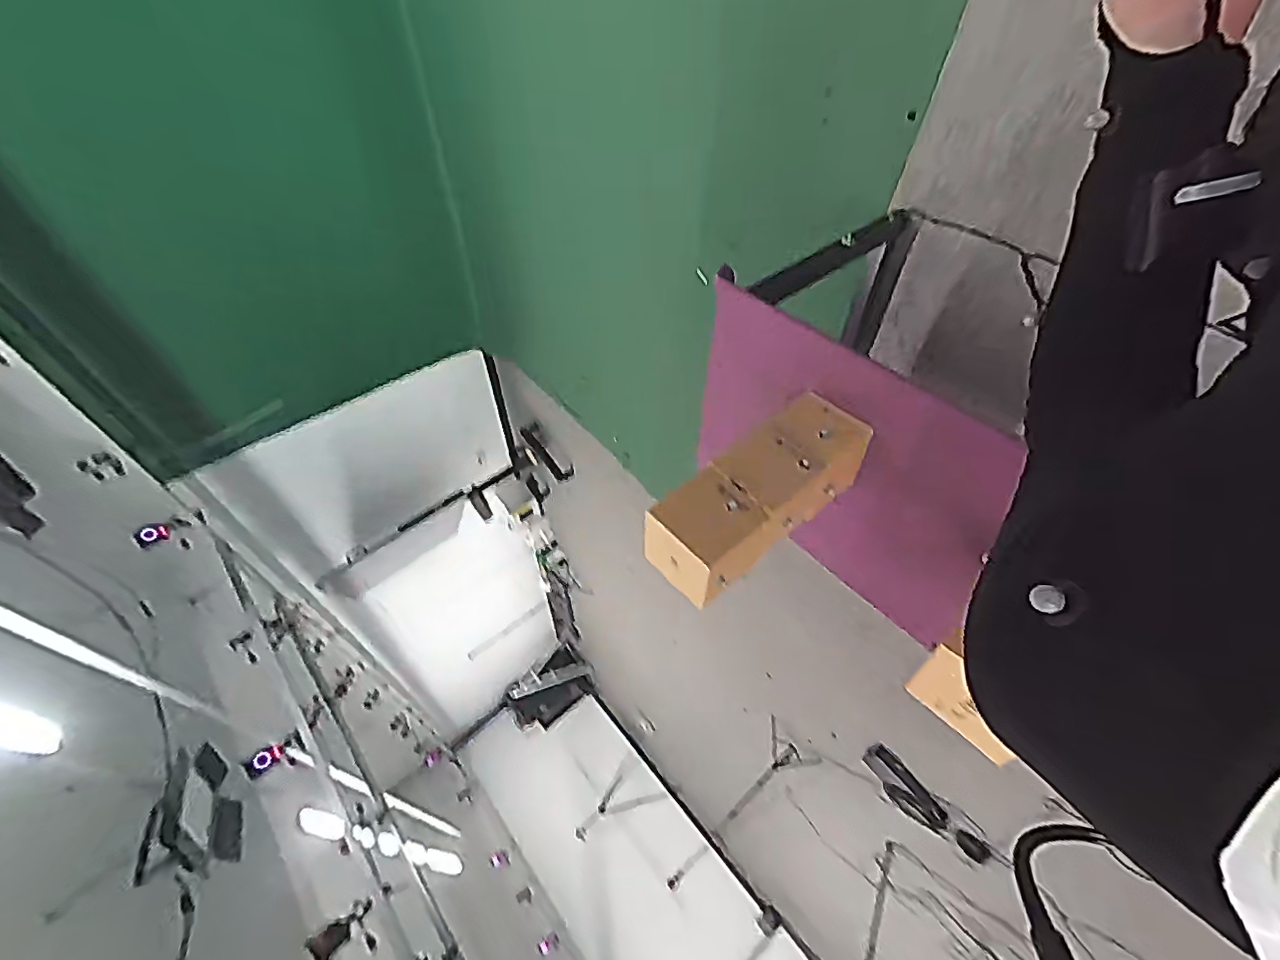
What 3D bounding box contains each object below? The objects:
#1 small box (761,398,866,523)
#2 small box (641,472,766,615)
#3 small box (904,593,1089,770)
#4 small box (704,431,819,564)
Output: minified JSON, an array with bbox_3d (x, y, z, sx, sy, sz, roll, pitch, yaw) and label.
[{"bbox_3d":[0.363,-0.048,1.180,0.168,0.176,0.179,40,152,29],"label":"small box"},{"bbox_3d":[0.119,0.121,1.042,0.168,0.176,0.179,42,152,26],"label":"small box"},{"bbox_3d":[0.566,0.314,0.862,0.168,0.176,0.179,40,150,32],"label":"small box"},{"bbox_3d":[0.239,0.031,1.106,0.168,0.176,0.179,42,153,28],"label":"small box"}]
